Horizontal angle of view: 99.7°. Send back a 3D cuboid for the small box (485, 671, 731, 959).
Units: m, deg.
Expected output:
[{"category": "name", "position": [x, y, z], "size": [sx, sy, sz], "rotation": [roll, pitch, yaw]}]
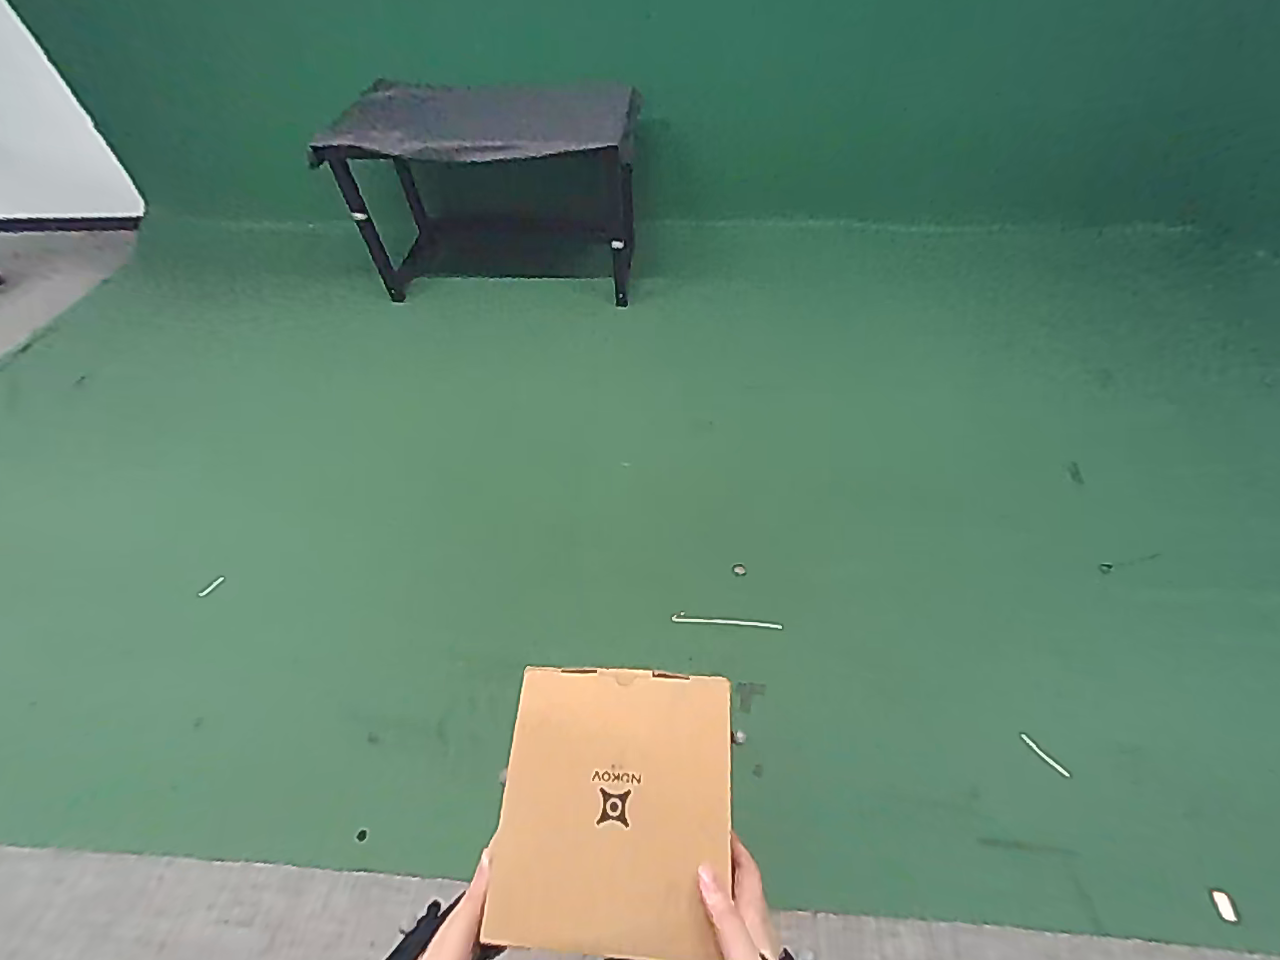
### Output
[{"category": "small box", "position": [-0.009, 0.268, 0.453], "size": [0.168, 0.176, 0.179], "rotation": [1, 61, 6]}]
